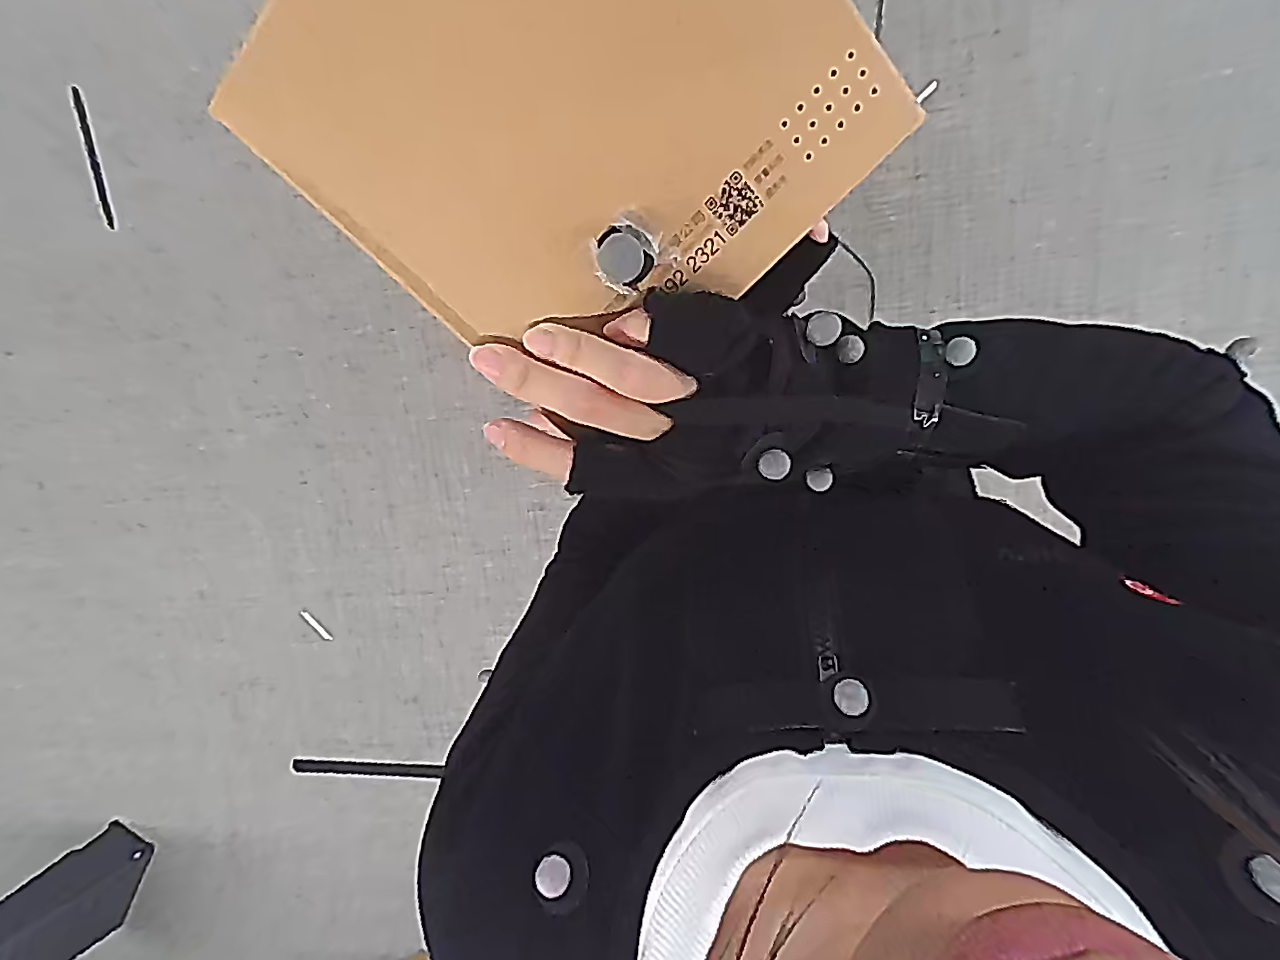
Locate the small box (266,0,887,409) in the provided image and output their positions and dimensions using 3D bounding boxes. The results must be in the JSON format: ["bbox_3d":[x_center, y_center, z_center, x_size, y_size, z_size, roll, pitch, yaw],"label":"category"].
[{"bbox_3d":[-0.019,-0.161,0.269,0.176,0.179,0.168,43,108,-16],"label":"small box"}]
